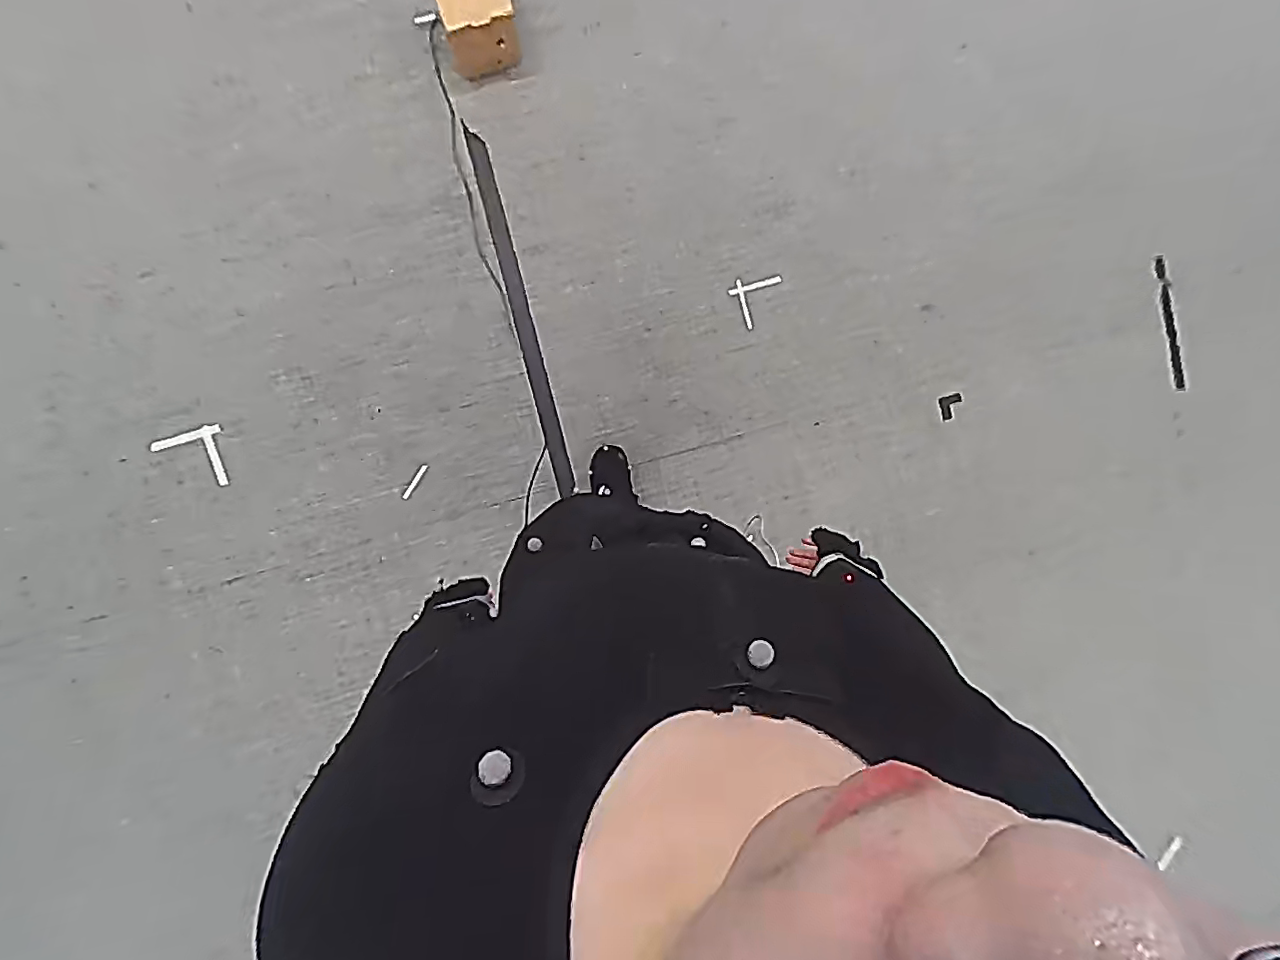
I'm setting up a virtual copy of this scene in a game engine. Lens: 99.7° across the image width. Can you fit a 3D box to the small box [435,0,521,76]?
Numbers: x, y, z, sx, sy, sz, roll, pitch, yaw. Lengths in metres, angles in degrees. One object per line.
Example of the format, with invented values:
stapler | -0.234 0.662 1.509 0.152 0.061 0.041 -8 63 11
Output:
small box | -0.406 -1.147 1.338 0.168 0.176 0.179 -20 93 -4
